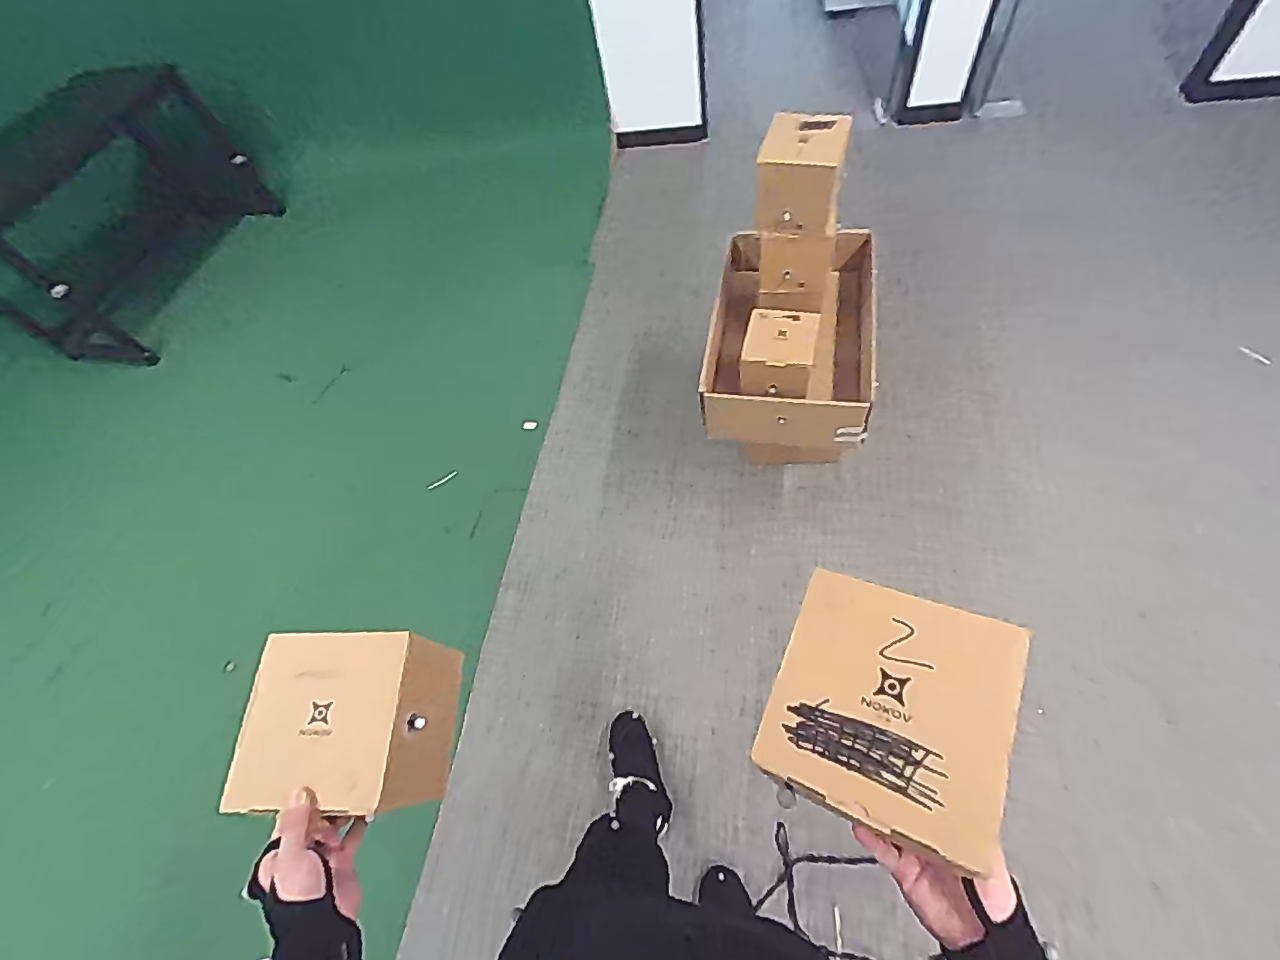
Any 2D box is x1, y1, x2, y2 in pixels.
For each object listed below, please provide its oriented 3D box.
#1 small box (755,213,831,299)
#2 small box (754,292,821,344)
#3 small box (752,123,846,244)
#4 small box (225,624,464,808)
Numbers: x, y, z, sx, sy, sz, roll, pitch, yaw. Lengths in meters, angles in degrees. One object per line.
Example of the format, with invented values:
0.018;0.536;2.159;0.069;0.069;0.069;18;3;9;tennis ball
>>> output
0.378;-0.577;1.348;0.168;0.176;0.179;4;62;13;small box
0.404;-0.499;1.487;0.168;0.176;0.179;5;61;14;small box
0.349;-0.663;1.211;0.168;0.176;0.179;13;64;17;small box
-0.325;0.276;0.639;0.168;0.176;0.179;-1;63;5;small box
